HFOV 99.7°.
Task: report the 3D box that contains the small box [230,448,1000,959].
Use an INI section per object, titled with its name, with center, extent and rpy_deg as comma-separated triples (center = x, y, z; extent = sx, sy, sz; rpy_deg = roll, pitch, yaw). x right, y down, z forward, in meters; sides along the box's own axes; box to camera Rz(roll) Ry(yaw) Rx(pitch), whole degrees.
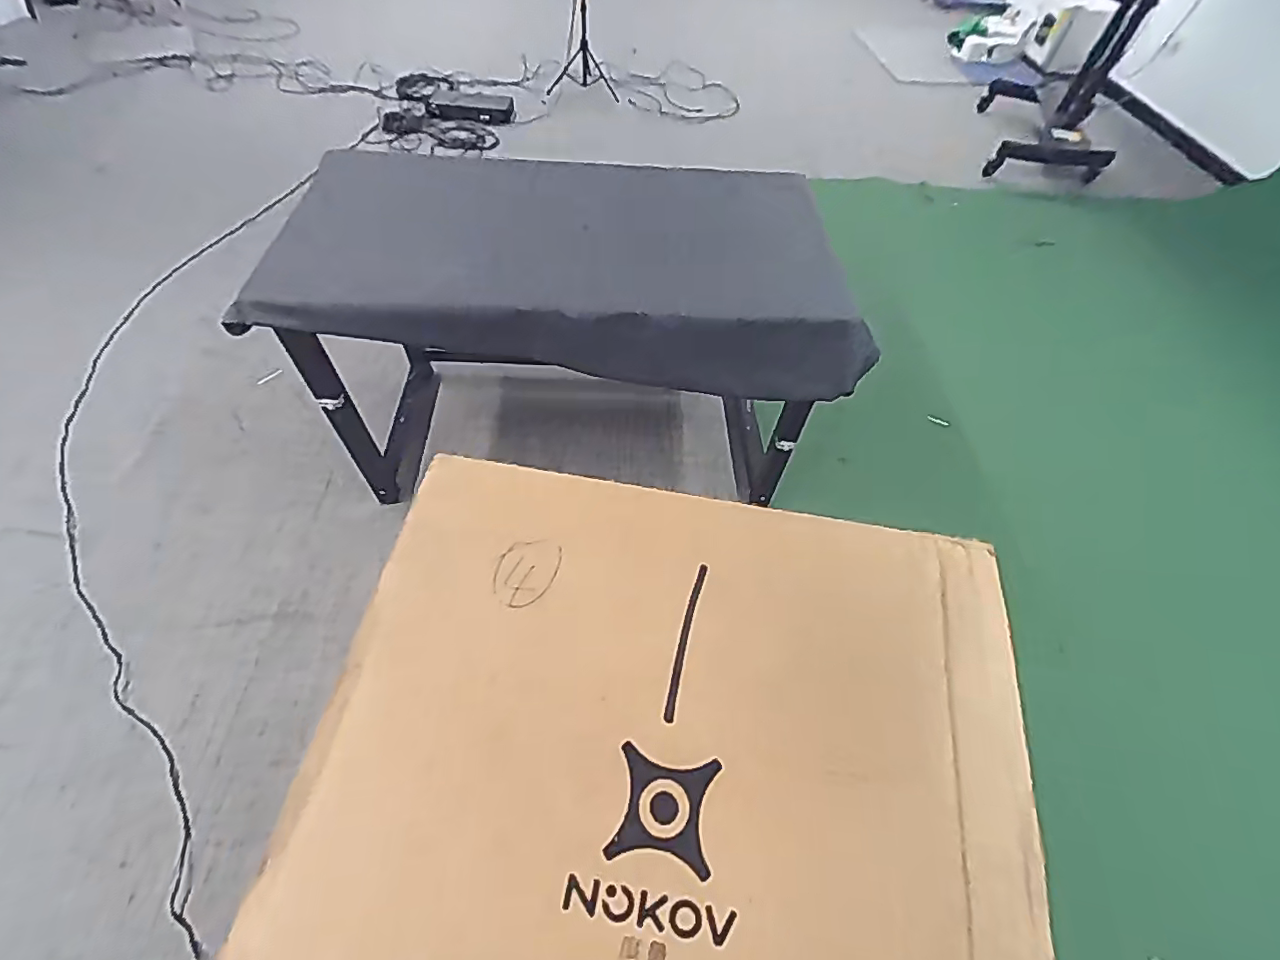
[small box]
center = 0.001, 0.115, 0.203
extent = 0.168, 0.176, 0.179
rpy_deg = 10, 62, 5
